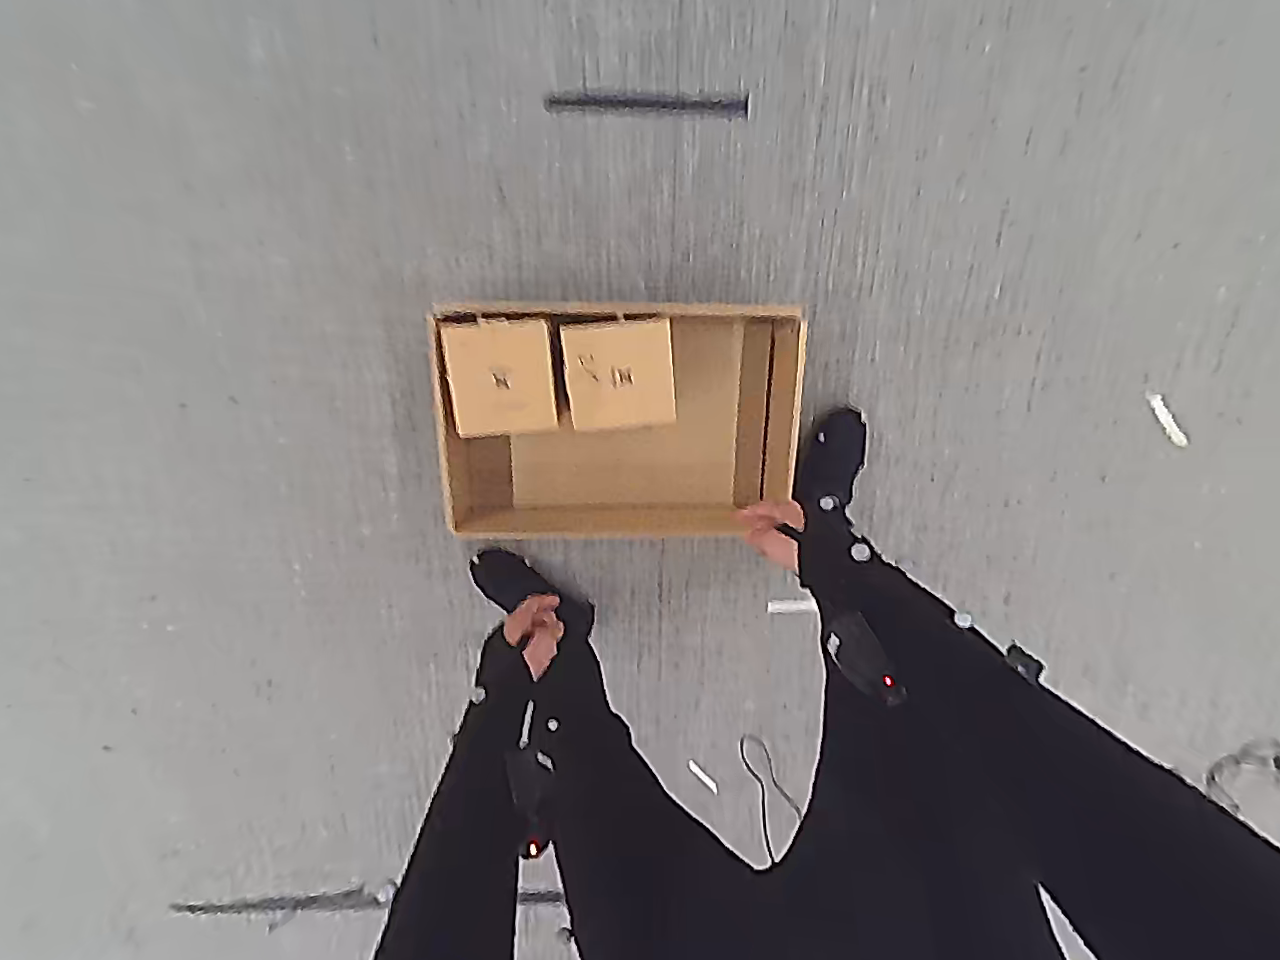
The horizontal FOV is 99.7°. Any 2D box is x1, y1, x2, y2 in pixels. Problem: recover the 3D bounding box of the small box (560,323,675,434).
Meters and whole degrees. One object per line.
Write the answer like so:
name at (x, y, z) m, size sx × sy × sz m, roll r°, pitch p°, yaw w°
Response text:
small box at (-0.040, -0.183, 0.944) m, size 0.179 × 0.176 × 0.168 m, roll -6°, pitch 106°, yaw -2°
